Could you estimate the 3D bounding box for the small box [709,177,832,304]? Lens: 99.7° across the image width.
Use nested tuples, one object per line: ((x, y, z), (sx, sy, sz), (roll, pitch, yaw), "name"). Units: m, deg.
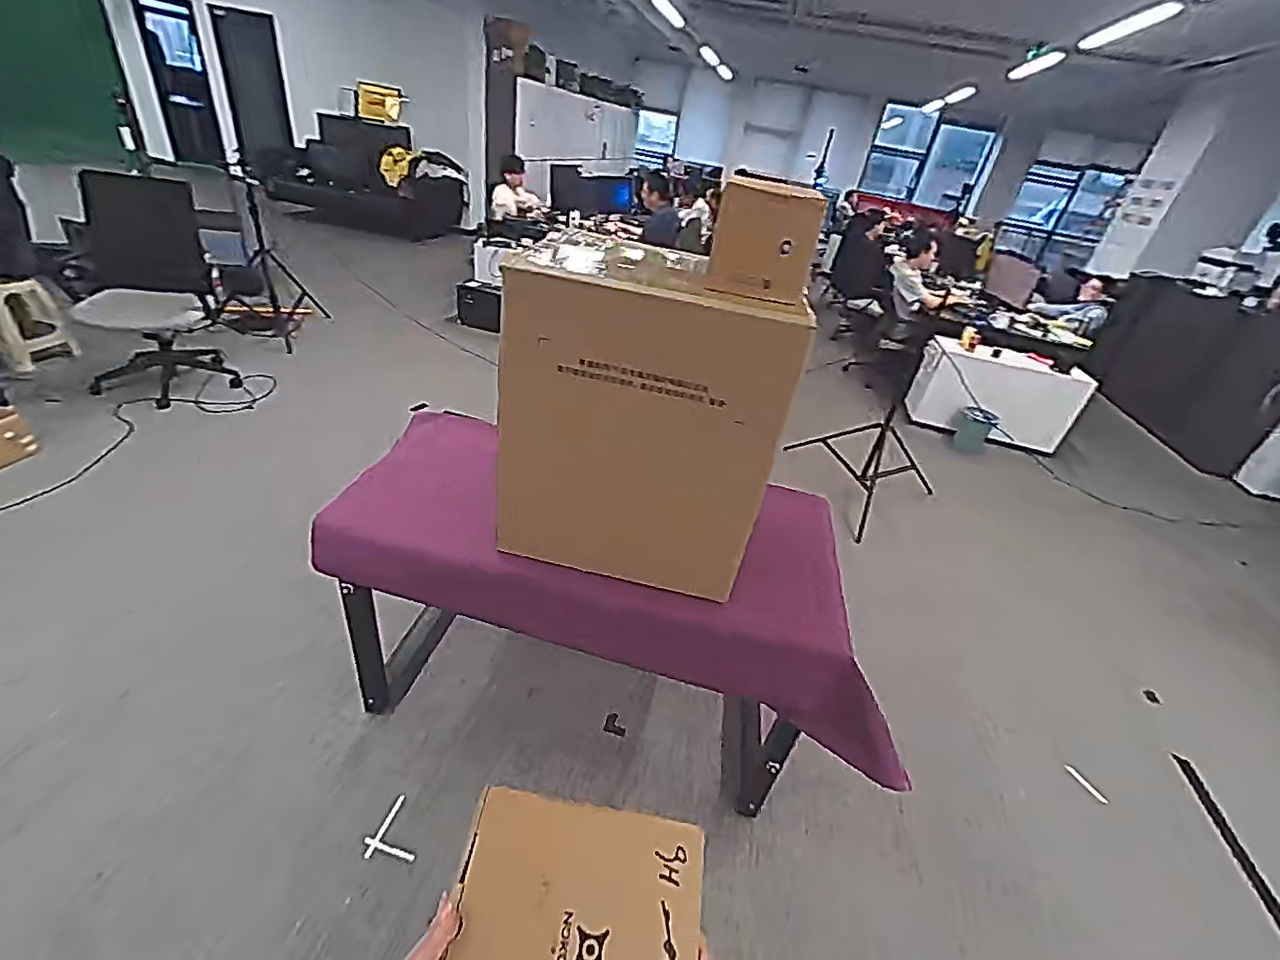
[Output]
((0.220, -0.420, 0.950), (0.168, 0.176, 0.179), (13, 32, 2), "small box")
